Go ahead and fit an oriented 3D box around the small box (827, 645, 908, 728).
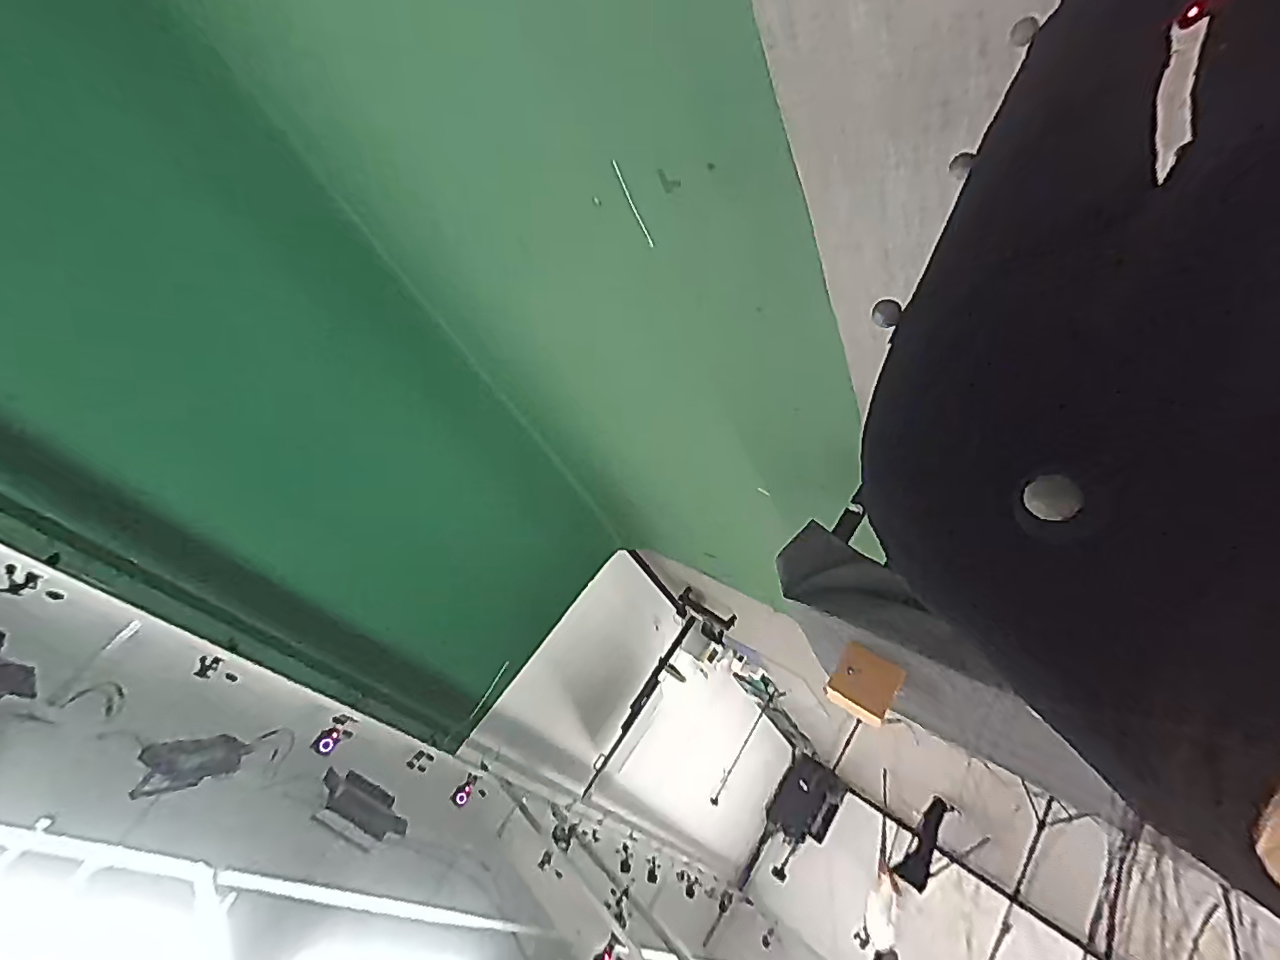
[{"bbox_3d":[0.704,0.634,1.684,0.179,0.176,0.168,25,158,31],"label":"small box"}]
